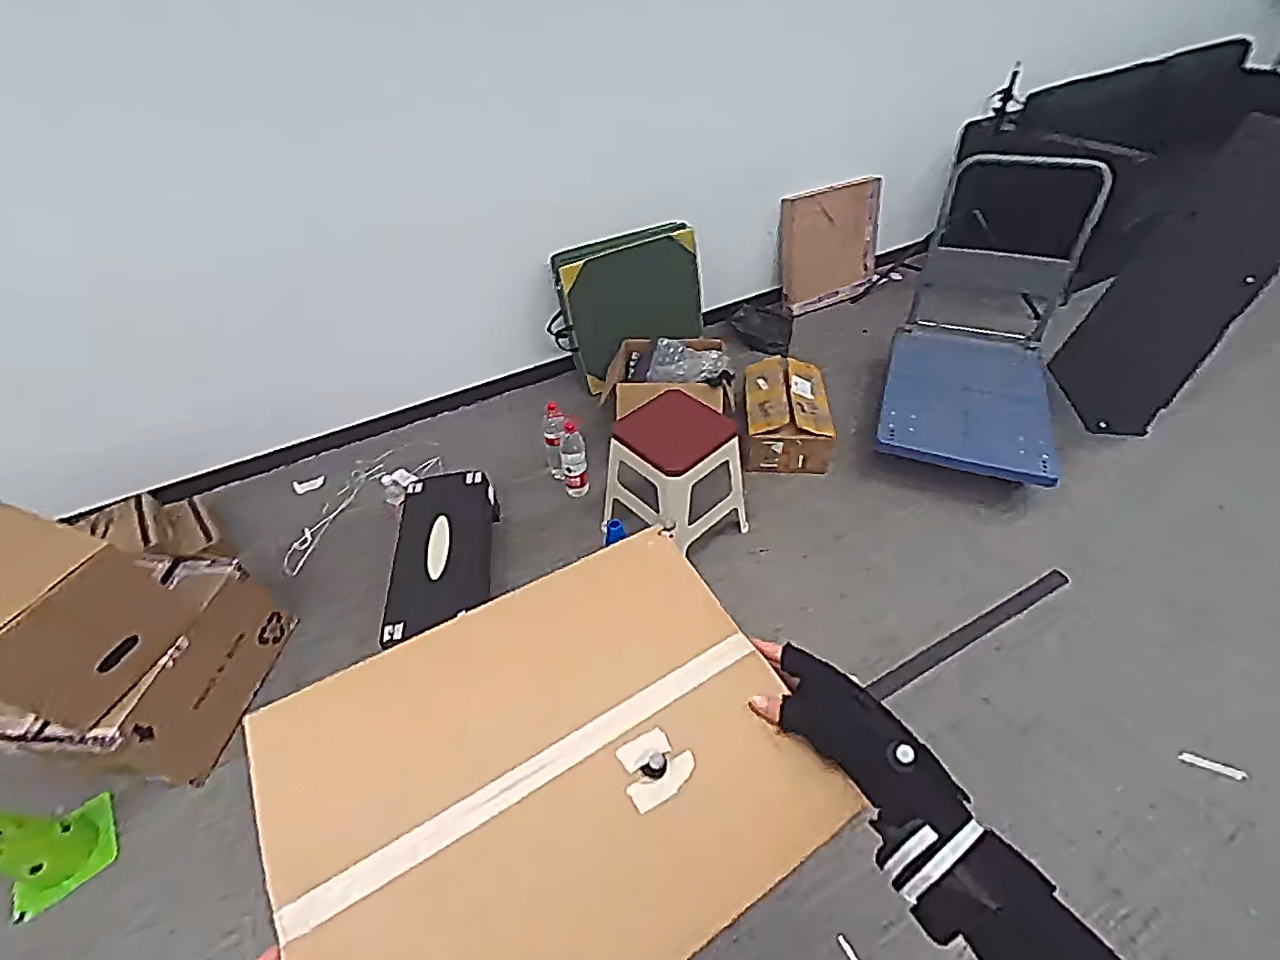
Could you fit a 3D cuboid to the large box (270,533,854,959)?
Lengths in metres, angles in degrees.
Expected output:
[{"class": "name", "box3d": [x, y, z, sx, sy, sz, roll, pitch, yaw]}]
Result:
[{"class": "large box", "box3d": [-0.076, 0.329, 0.562, 0.408, 0.320, 0.320, -23, 57, -23]}]
